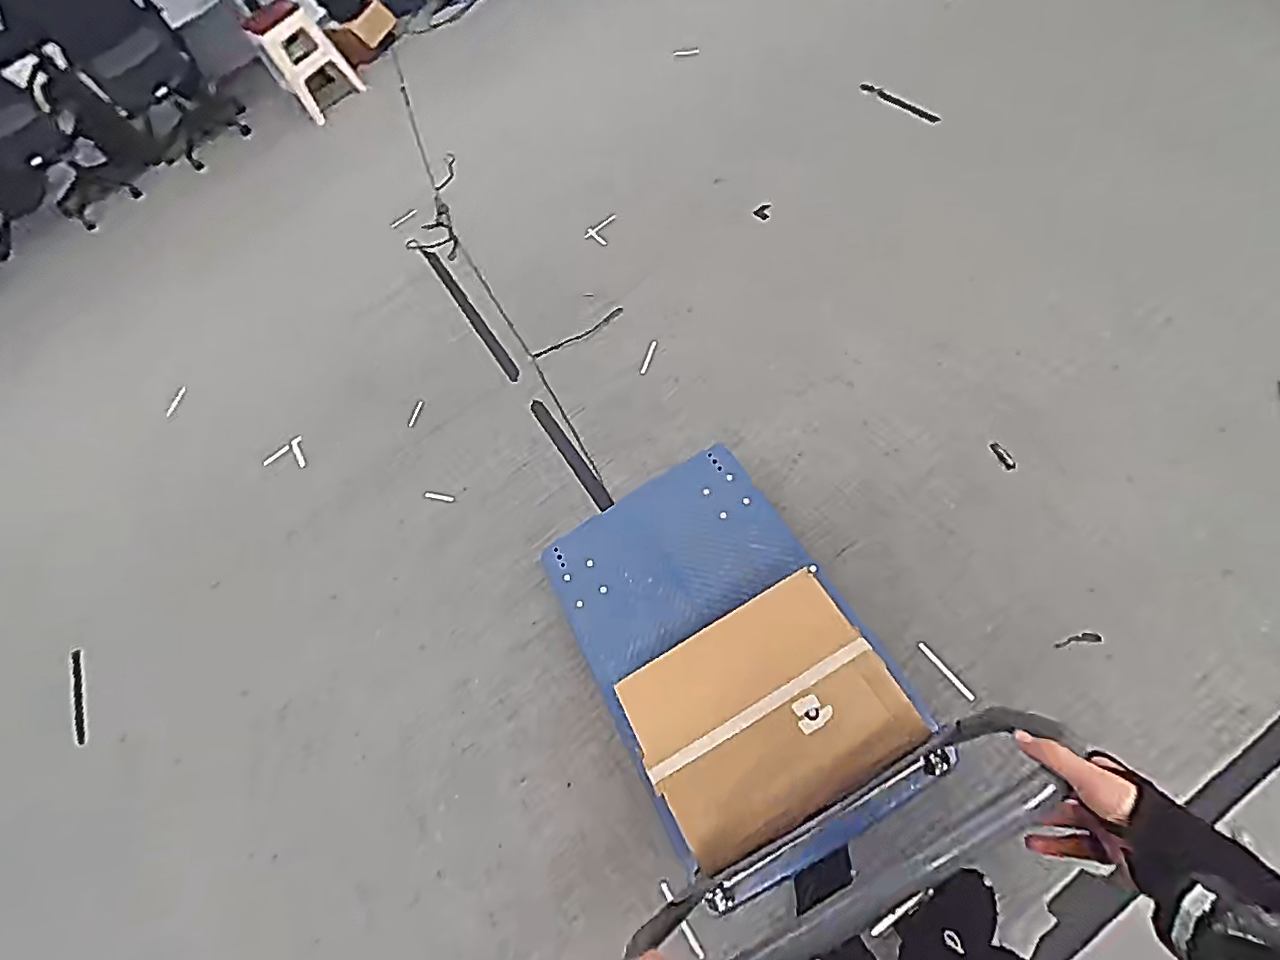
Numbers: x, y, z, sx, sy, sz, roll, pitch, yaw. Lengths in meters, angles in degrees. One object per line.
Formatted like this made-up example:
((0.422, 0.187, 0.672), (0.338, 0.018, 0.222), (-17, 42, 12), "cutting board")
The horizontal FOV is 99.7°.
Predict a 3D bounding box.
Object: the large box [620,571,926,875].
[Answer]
((0.233, 0.443, 1.012), (0.408, 0.320, 0.320), (-31, 61, -2), "large box")
